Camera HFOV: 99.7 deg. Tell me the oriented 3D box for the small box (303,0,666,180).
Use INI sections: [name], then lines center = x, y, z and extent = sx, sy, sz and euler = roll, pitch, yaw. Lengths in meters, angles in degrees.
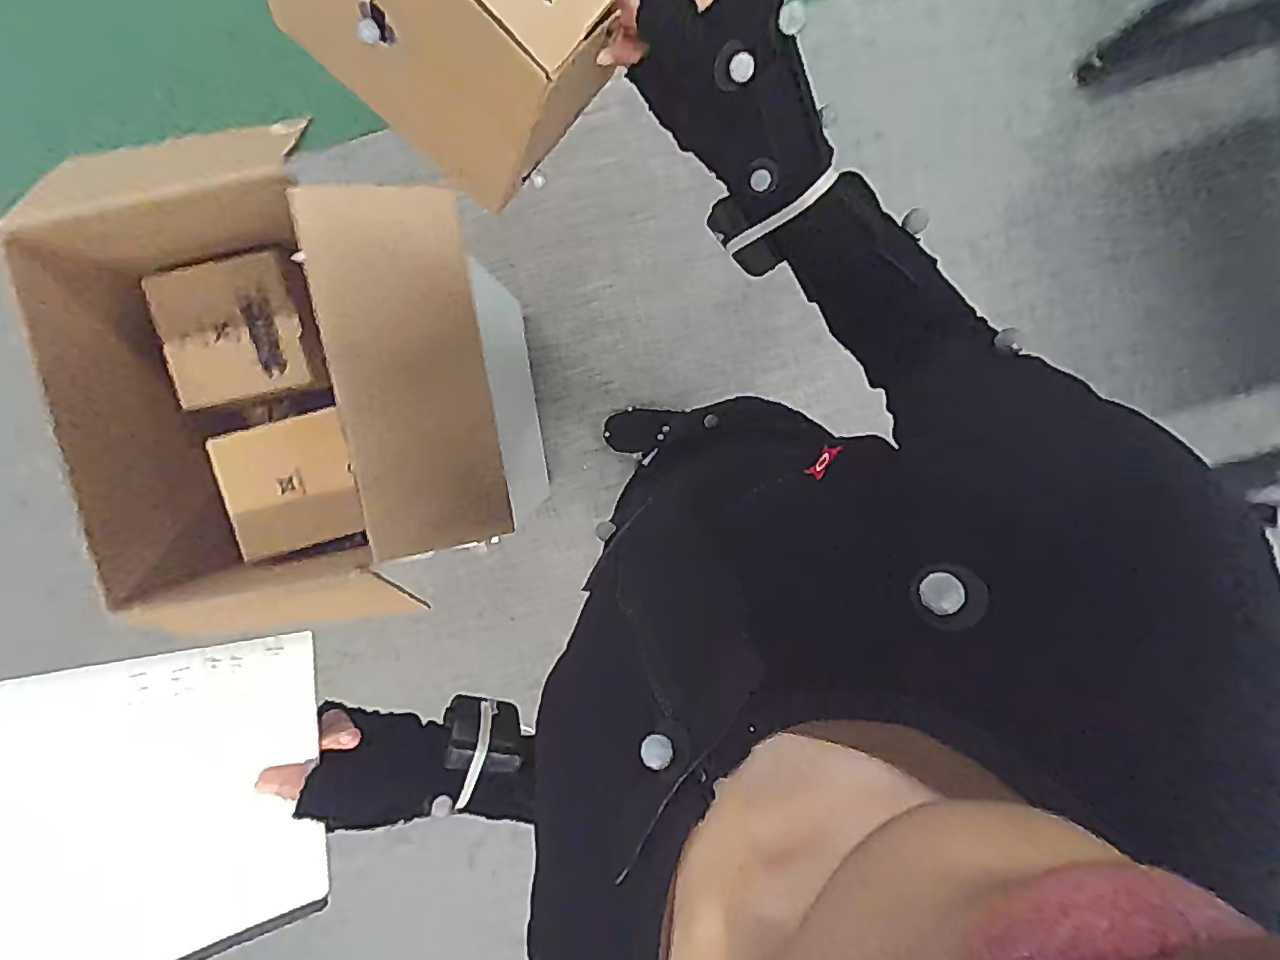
[small box]
center = -0.083, -0.317, 0.321
extent = 0.179, 0.176, 0.168
euler = 38, 77, -20
